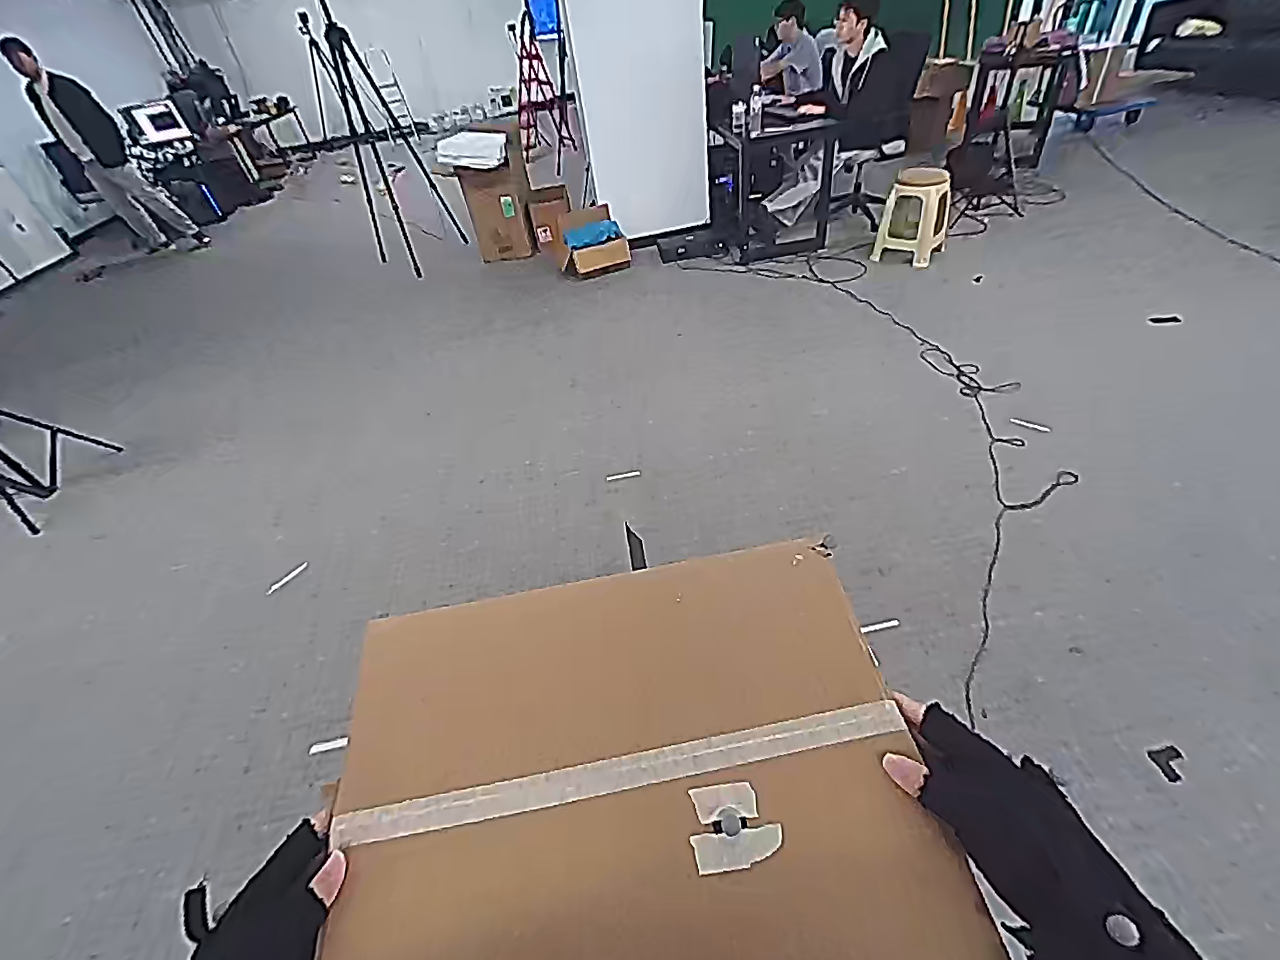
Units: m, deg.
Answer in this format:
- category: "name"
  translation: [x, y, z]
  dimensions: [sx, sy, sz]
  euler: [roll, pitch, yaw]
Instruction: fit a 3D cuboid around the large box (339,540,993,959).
- category: "large box"
  translation: [0.001, 0.301, 0.515]
  dimensions: [0.408, 0.320, 0.320]
  euler: [-10, 52, -3]
